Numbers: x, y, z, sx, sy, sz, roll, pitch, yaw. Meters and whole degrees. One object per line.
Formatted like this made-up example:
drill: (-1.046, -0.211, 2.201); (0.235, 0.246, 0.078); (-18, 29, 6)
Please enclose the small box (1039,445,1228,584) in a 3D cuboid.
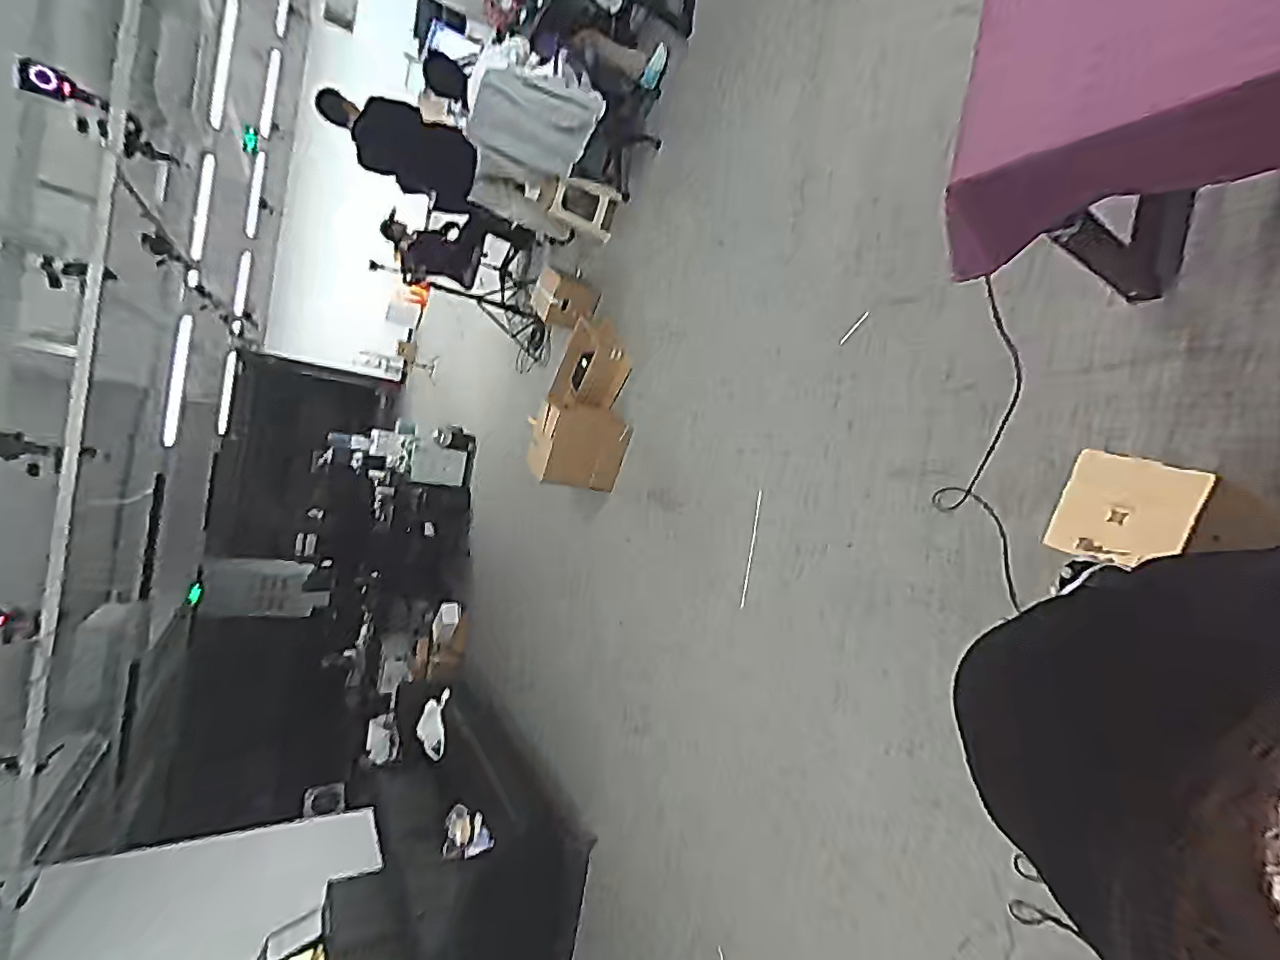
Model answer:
small box: (0.815, 0.058, 0.893); (0.168, 0.176, 0.179); (31, 108, 56)
